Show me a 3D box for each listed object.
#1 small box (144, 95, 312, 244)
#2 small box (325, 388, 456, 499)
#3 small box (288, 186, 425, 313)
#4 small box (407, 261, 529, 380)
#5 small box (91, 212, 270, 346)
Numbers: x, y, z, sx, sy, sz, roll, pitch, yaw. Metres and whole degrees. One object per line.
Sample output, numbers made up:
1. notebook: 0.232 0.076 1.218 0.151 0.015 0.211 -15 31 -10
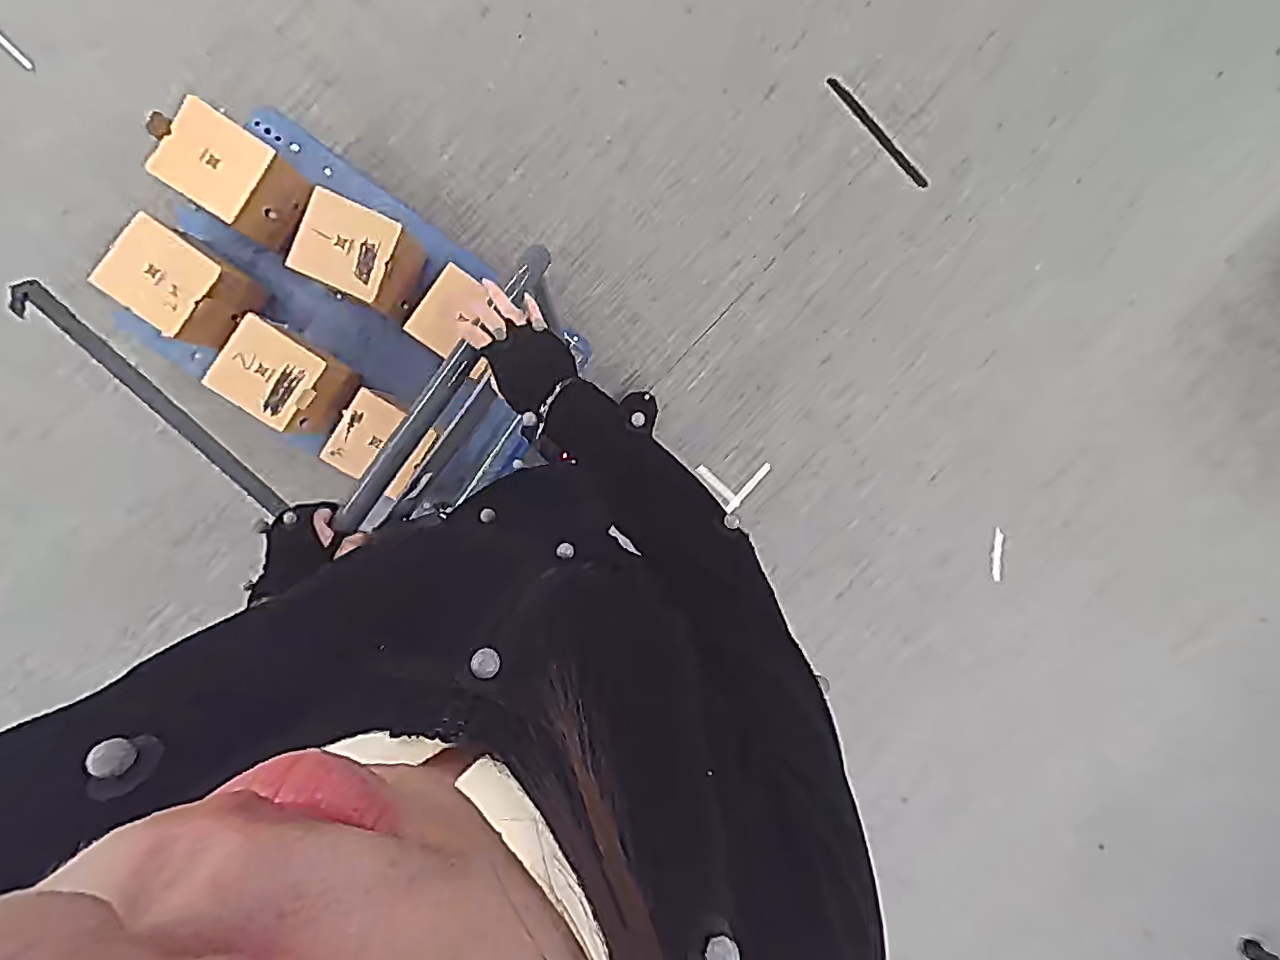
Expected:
1. small box: -0.805 -0.601 1.080 0.179 0.176 0.168 32 91 -8
2. small box: -0.521 -0.080 1.160 0.179 0.176 0.168 31 90 -9
3. small box: -0.573 -0.462 1.119 0.179 0.176 0.168 23 92 -8
4. small box: -0.356 -0.328 1.158 0.179 0.176 0.168 35 90 -8
5. small box: -0.907 -0.389 1.087 0.179 0.176 0.168 36 91 -9
